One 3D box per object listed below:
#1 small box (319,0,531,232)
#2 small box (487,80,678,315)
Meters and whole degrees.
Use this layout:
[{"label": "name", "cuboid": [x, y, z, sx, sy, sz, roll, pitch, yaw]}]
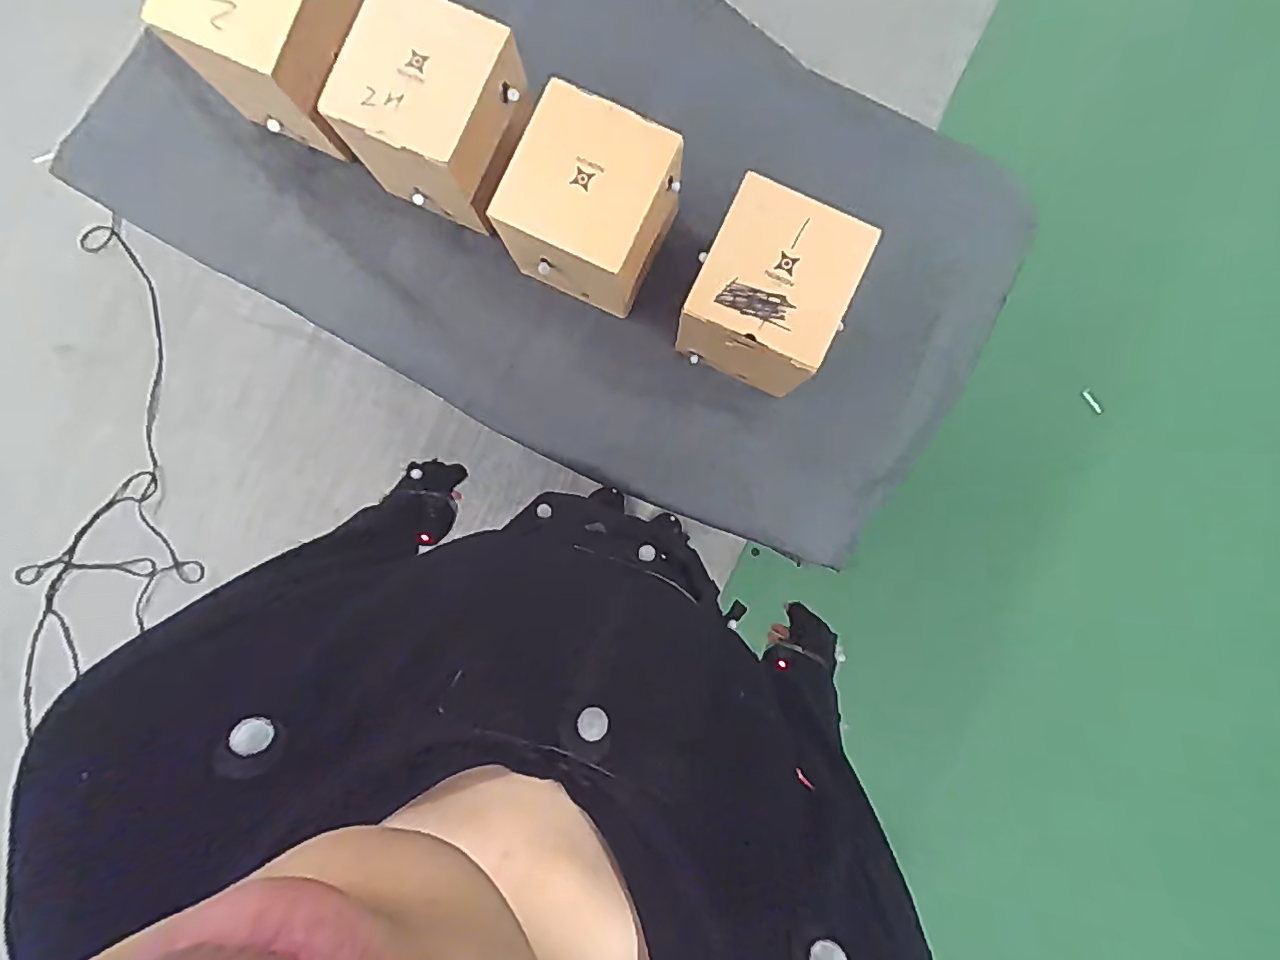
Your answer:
[{"label": "small box", "cuboid": [-0.252, -0.457, 0.684, 0.168, 0.176, 0.179, 24, 89, 1]}, {"label": "small box", "cuboid": [-0.062, -0.337, 0.683, 0.168, 0.176, 0.179, 25, 88, 1]}]
